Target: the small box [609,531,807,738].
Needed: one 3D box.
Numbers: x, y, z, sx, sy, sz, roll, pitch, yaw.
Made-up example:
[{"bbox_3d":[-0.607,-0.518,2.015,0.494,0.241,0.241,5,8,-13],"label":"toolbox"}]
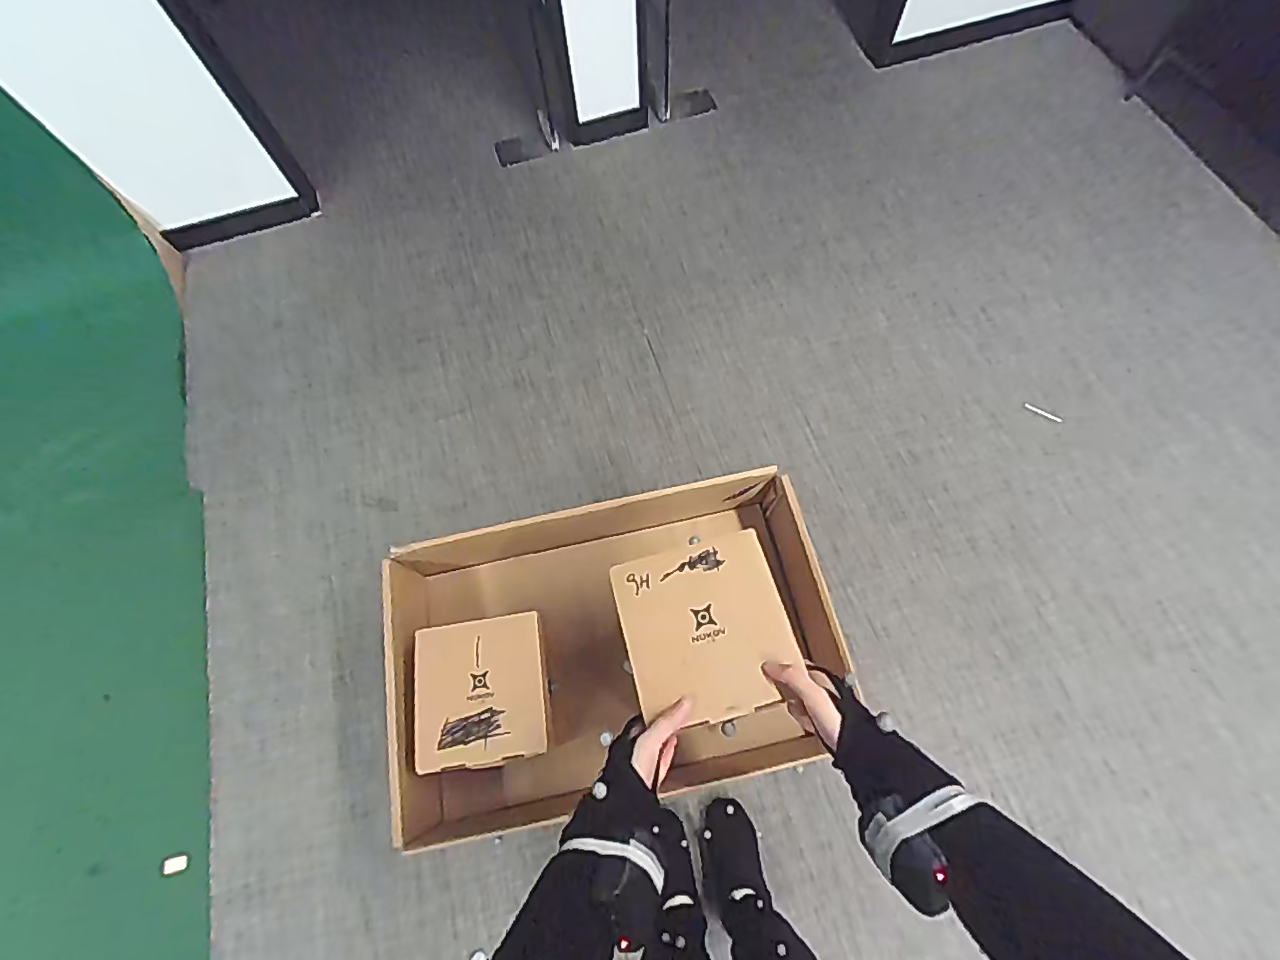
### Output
[{"bbox_3d":[0.071,0.181,0.621,0.168,0.176,0.179,-14,66,-2],"label":"small box"}]
